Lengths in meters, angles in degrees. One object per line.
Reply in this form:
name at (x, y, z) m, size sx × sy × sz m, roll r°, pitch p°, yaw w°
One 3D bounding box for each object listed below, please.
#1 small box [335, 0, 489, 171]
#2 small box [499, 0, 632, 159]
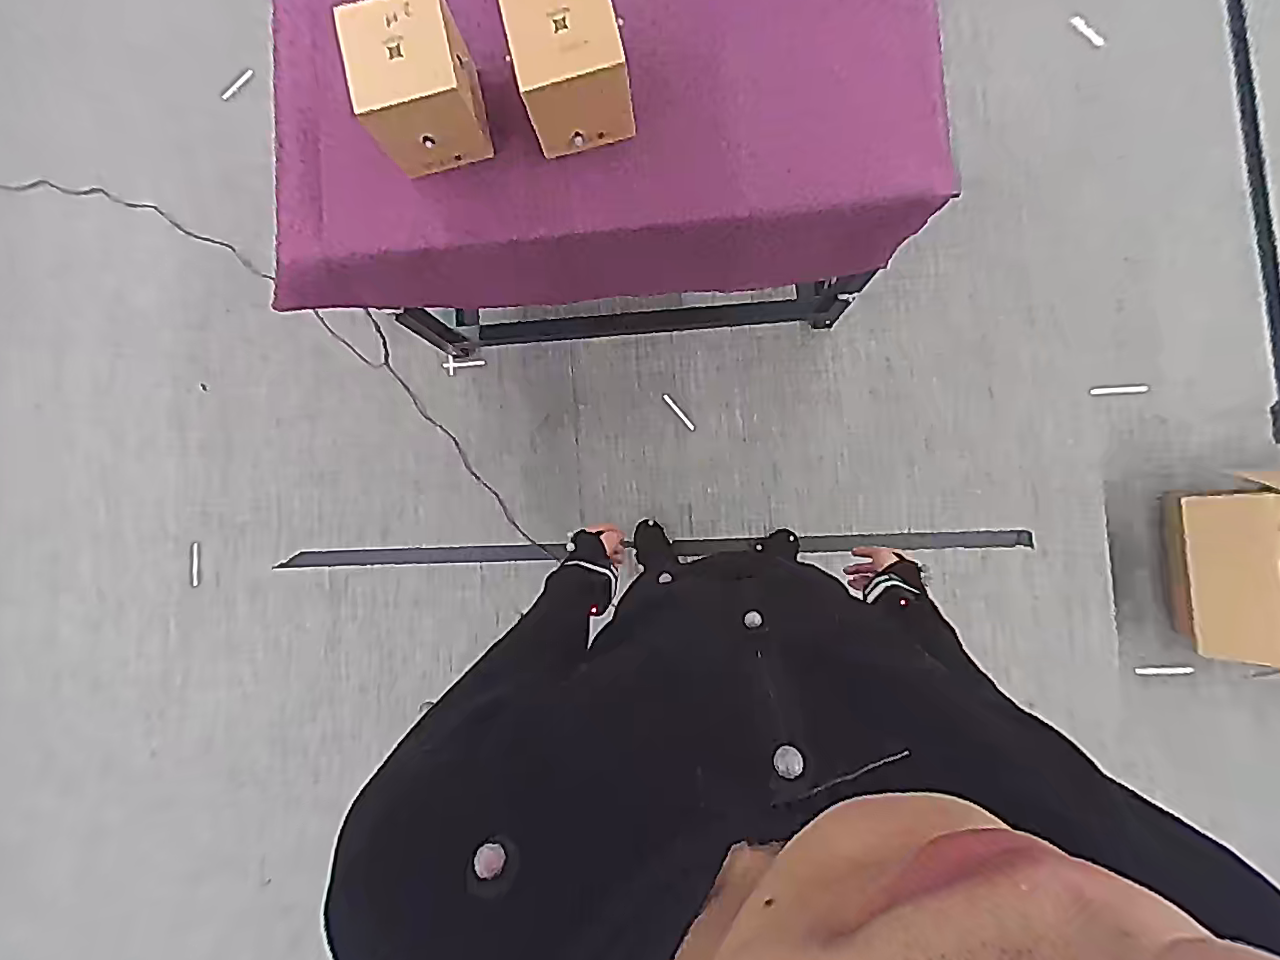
small box at (-0.366, -0.647, 0.898) m, size 0.168 × 0.176 × 0.179 m, roll -12°, pitch 86°, yaw 3°
small box at (-0.115, -0.673, 0.882) m, size 0.168 × 0.176 × 0.179 m, roll -13°, pitch 86°, yaw 4°
